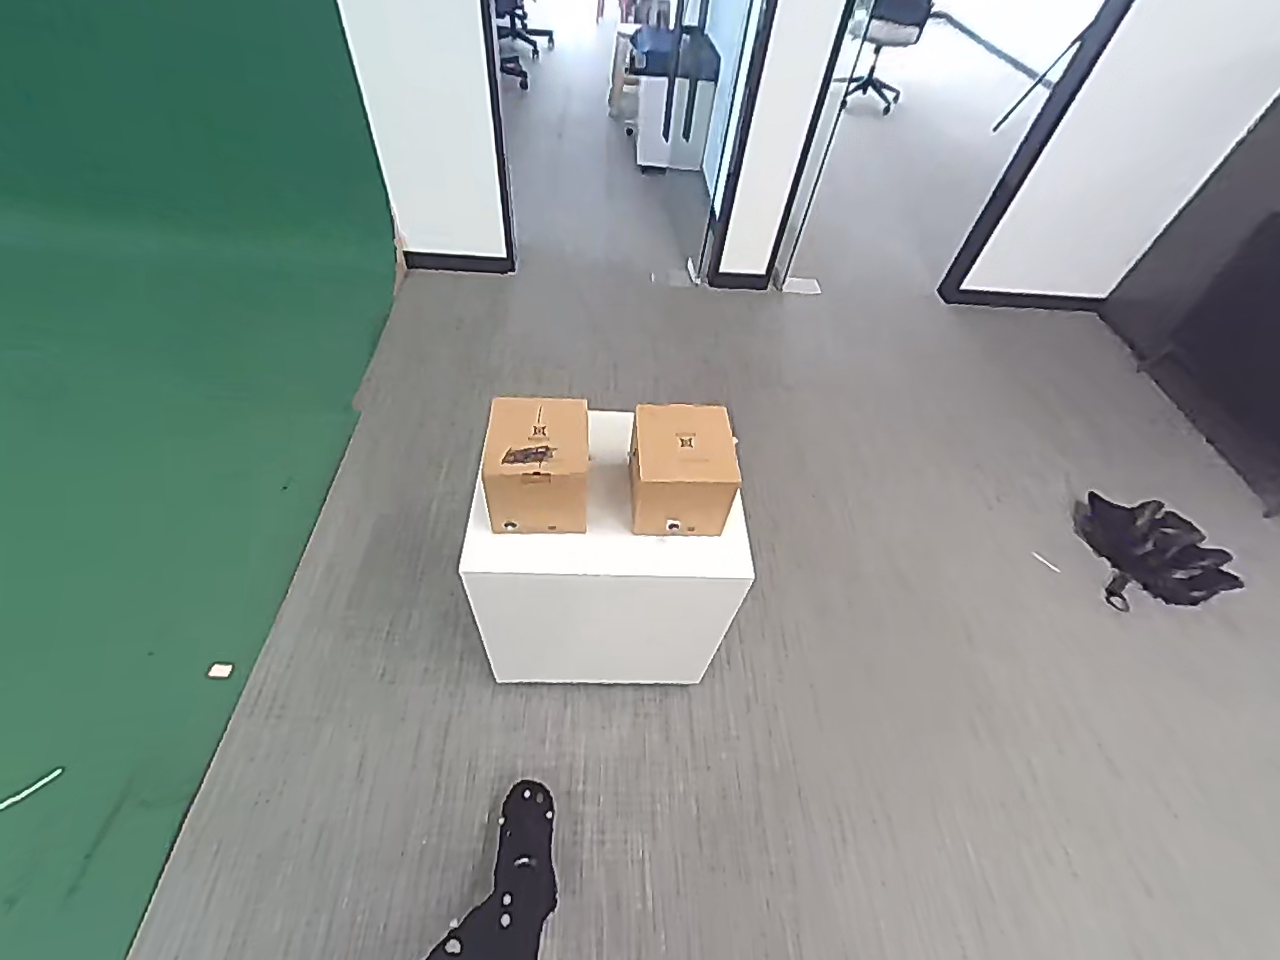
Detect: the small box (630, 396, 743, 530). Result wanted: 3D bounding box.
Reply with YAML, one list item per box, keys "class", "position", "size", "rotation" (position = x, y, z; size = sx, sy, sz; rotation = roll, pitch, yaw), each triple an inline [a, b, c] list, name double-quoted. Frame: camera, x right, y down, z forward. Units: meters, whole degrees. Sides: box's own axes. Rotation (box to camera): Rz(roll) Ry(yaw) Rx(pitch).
- class: "small box"
  position: [0.071, -0.028, 0.961]
  size: [0.168, 0.176, 0.179]
  rotation: [0, 53, -5]

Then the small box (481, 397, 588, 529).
- class: "small box"
  position: [-0.176, -0.026, 0.951]
  size: [0.168, 0.176, 0.179]
  rotation: [0, 51, -7]
